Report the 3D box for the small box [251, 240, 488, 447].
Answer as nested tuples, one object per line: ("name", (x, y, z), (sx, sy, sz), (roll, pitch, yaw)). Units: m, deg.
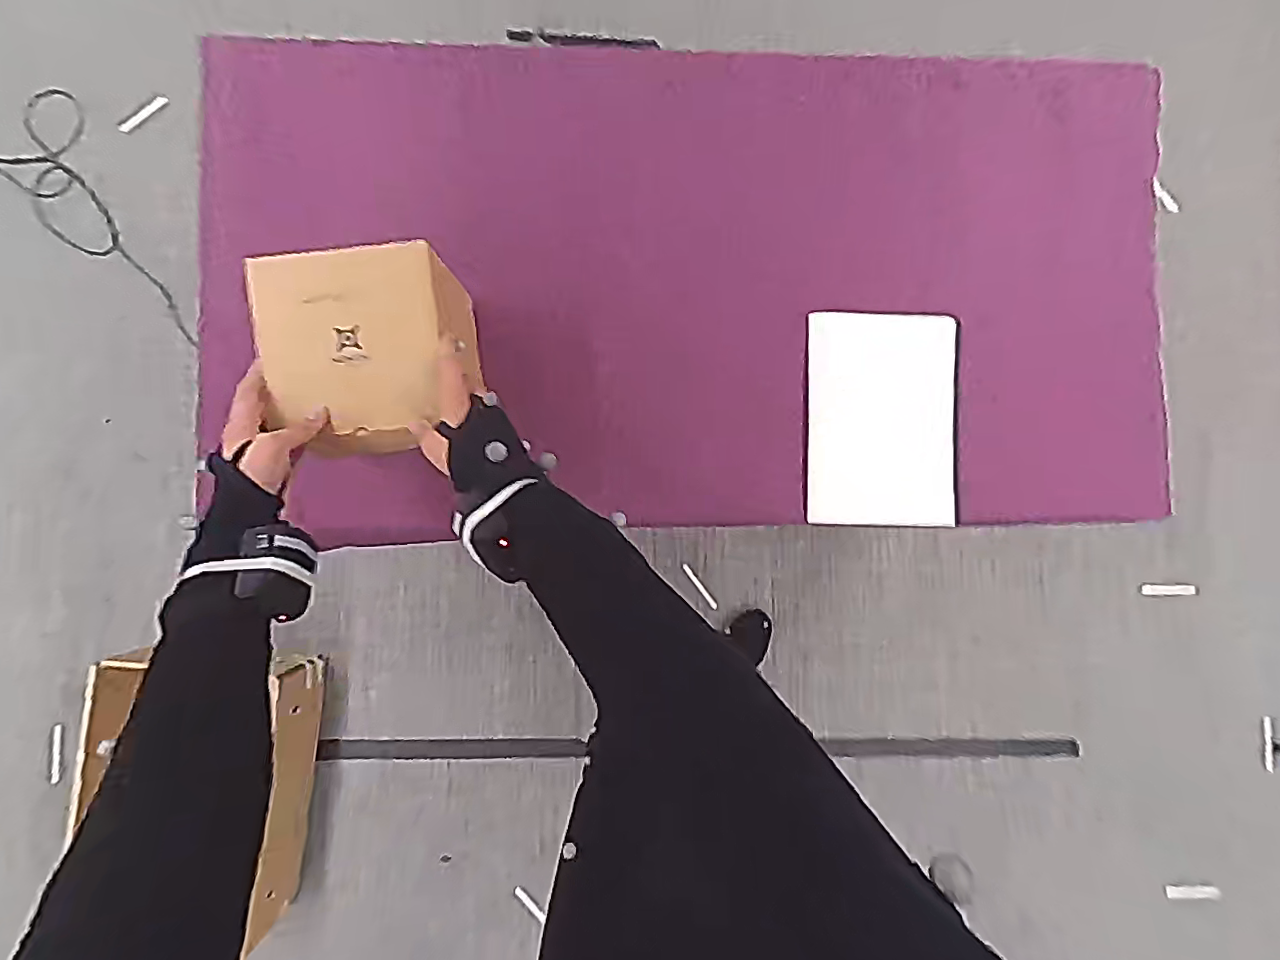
("small box", (-0.271, -0.130, 0.582), (0.168, 0.176, 0.179), (-7, 90, -3))
